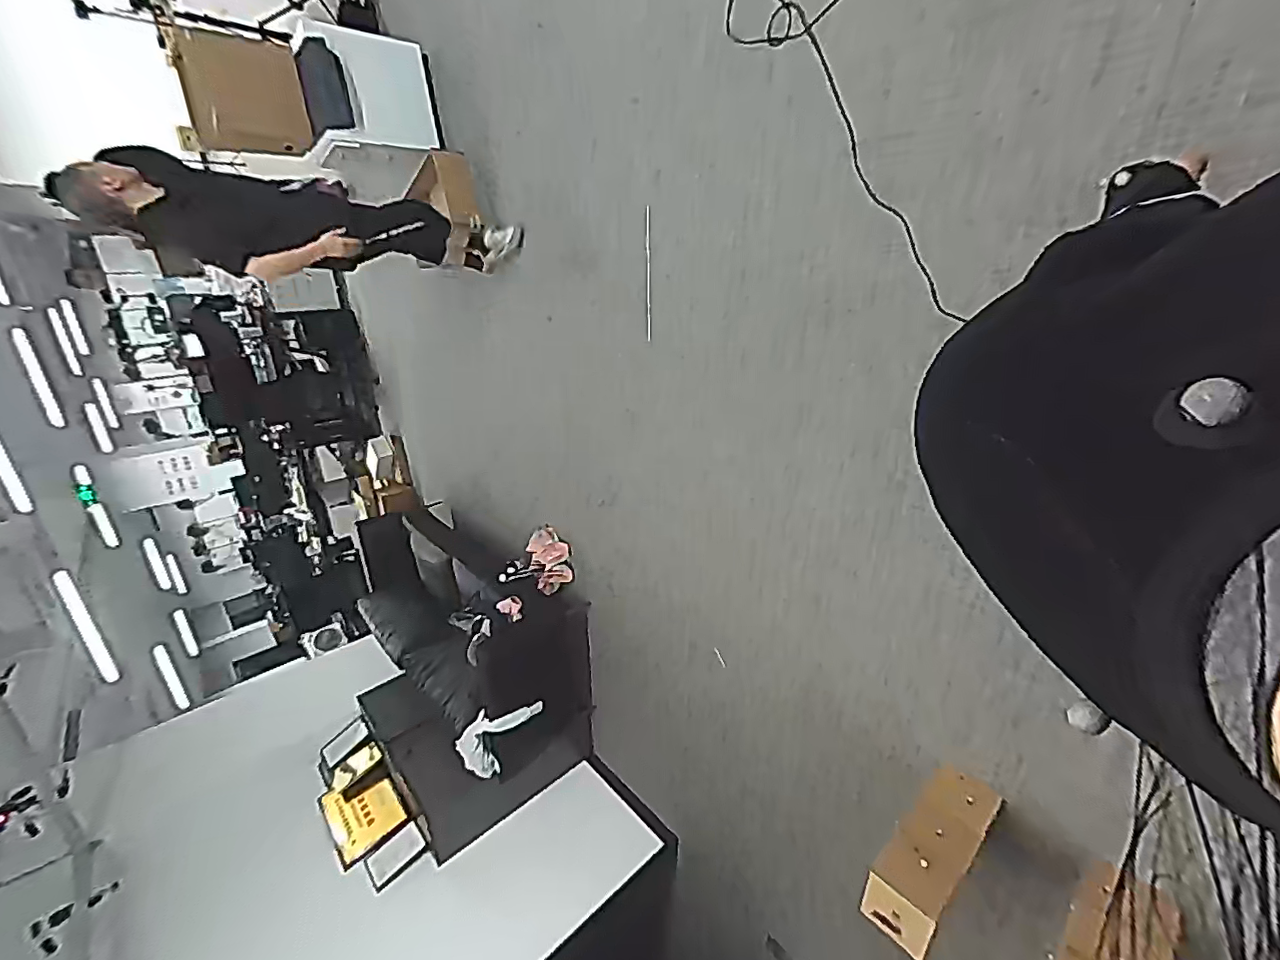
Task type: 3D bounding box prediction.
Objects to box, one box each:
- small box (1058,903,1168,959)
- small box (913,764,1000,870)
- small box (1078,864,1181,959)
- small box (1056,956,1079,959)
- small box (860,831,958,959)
[{"bbox_3d":[1.094,1.157,1.263,0.179,0.176,0.168,16,117,45],"label":"small box"},{"bbox_3d":[0.957,1.007,1.632,0.168,0.176,0.179,24,123,43],"label":"small box"},{"bbox_3d":[1.220,1.121,1.363,0.179,0.176,0.168,16,117,45],"label":"small box"},{"bbox_3d":[0.968,1.186,1.160,0.179,0.176,0.168,18,120,45],"label":"small box"},{"bbox_3d":[0.712,1.092,1.429,0.168,0.176,0.179,23,122,42],"label":"small box"}]
